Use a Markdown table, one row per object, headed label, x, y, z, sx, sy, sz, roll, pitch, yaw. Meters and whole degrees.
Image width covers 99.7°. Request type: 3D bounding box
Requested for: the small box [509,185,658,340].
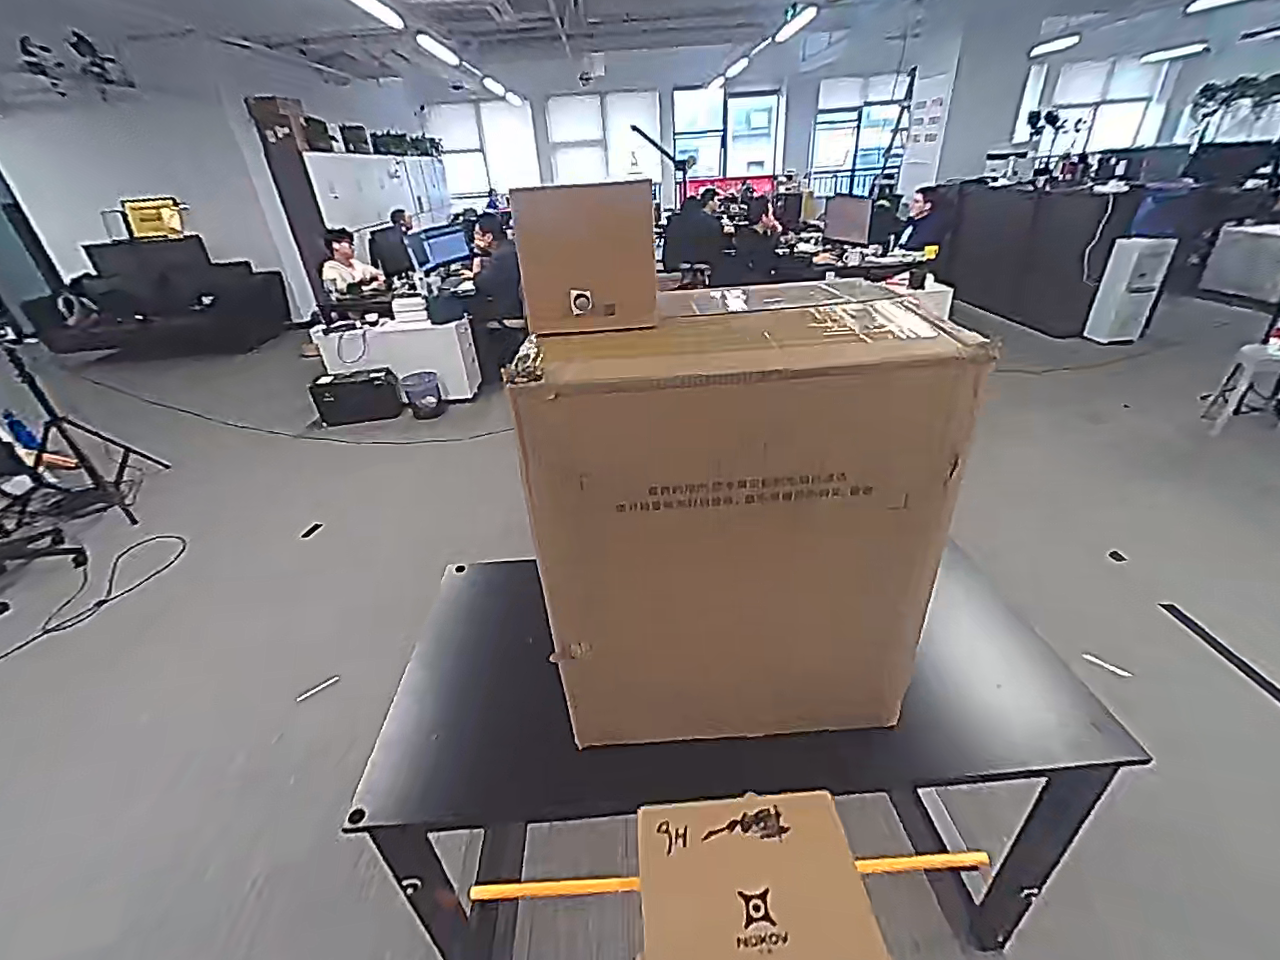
| label | x | y | z | sx | sy | sz | roll | pitch | yaw |
| --- | --- | --- | --- | --- | --- | --- | --- | --- | --- |
| small box | -0.070 | -0.293 | 0.722 | 0.168 | 0.176 | 0.179 | -7 | 30 | -3 |
